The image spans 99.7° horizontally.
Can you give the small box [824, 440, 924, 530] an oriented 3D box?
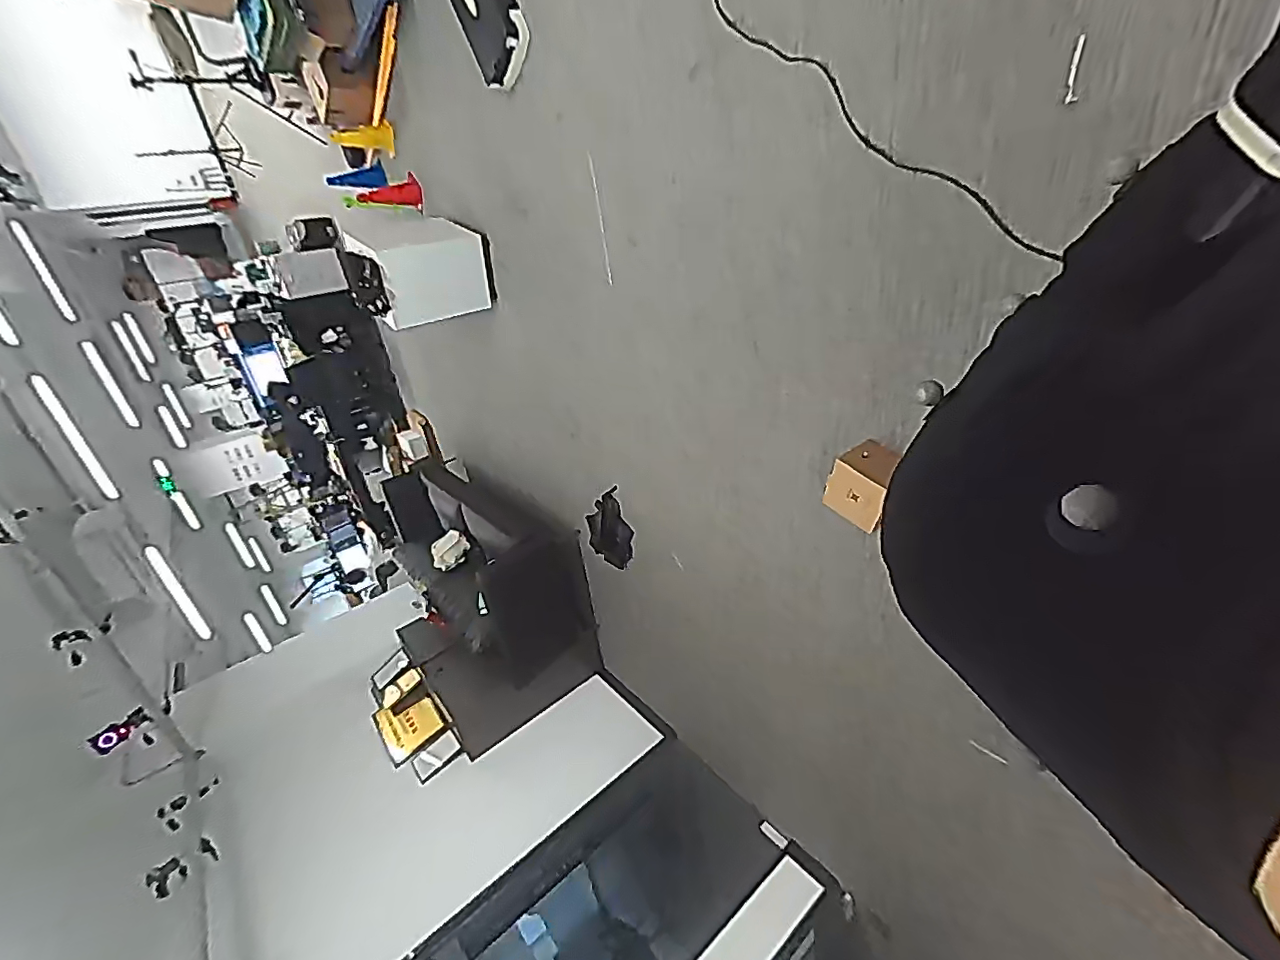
[{"bbox_3d":[0.667,0.004,1.546,0.179,0.176,0.168,39,142,34],"label":"small box"}]
